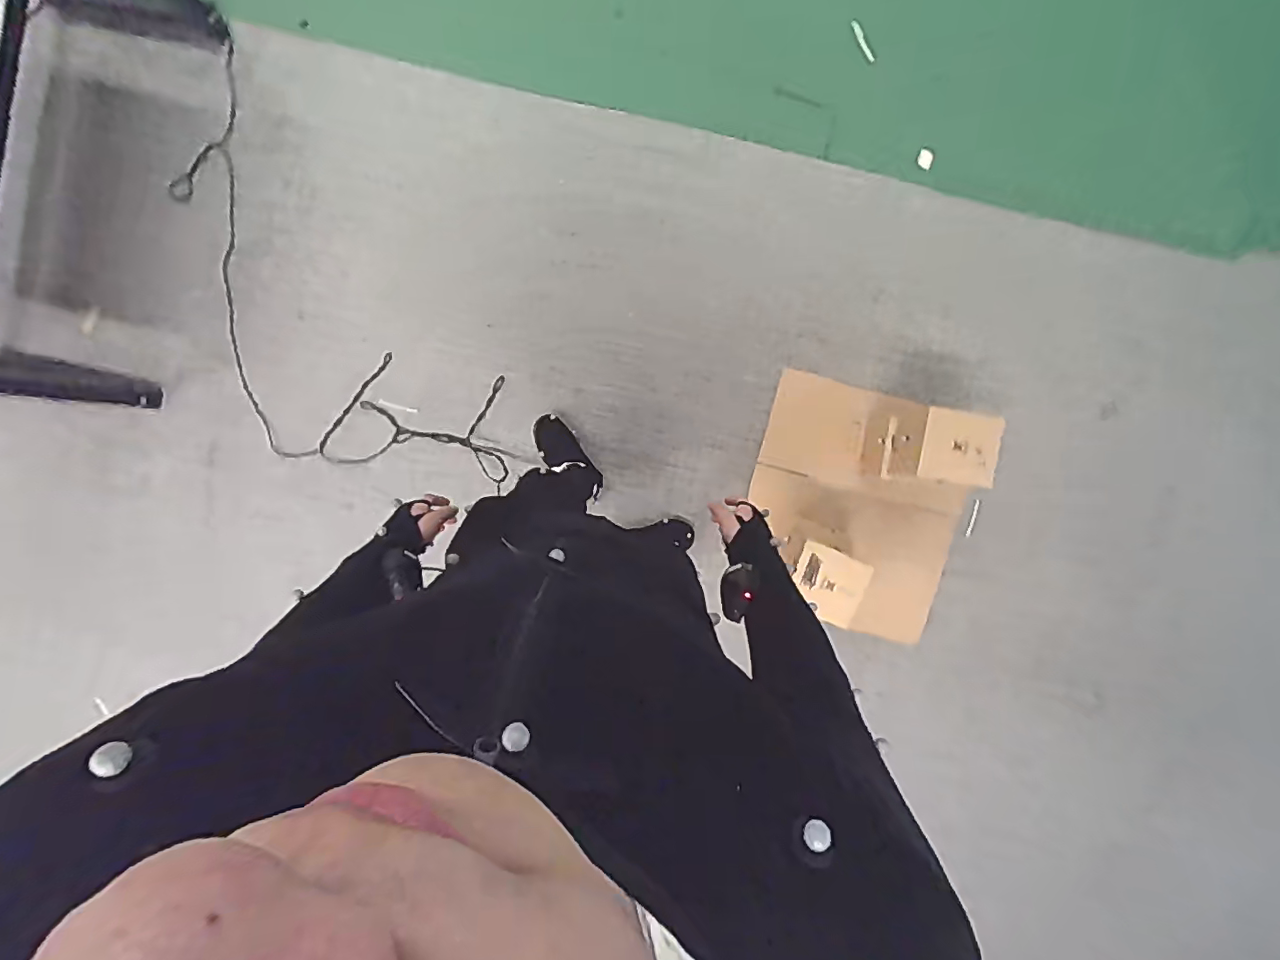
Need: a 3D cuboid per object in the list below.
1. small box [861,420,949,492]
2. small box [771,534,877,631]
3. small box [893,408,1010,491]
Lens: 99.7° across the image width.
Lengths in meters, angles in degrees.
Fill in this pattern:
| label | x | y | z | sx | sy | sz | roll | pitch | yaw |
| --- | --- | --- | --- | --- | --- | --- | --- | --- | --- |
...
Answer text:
| label | x | y | z | sx | sy | sz | roll | pitch | yaw |
| --- | --- | --- | --- | --- | --- | --- | --- | --- | --- |
| small box | 0.734 | -0.069 | 1.482 | 0.179 | 0.176 | 0.168 | 10 | 95 | 2 |
| small box | 0.447 | 0.244 | 1.348 | 0.179 | 0.176 | 0.168 | 25 | 94 | 0 |
| small box | 0.745 | -0.075 | 1.315 | 0.179 | 0.176 | 0.168 | 10 | 95 | 2 |
